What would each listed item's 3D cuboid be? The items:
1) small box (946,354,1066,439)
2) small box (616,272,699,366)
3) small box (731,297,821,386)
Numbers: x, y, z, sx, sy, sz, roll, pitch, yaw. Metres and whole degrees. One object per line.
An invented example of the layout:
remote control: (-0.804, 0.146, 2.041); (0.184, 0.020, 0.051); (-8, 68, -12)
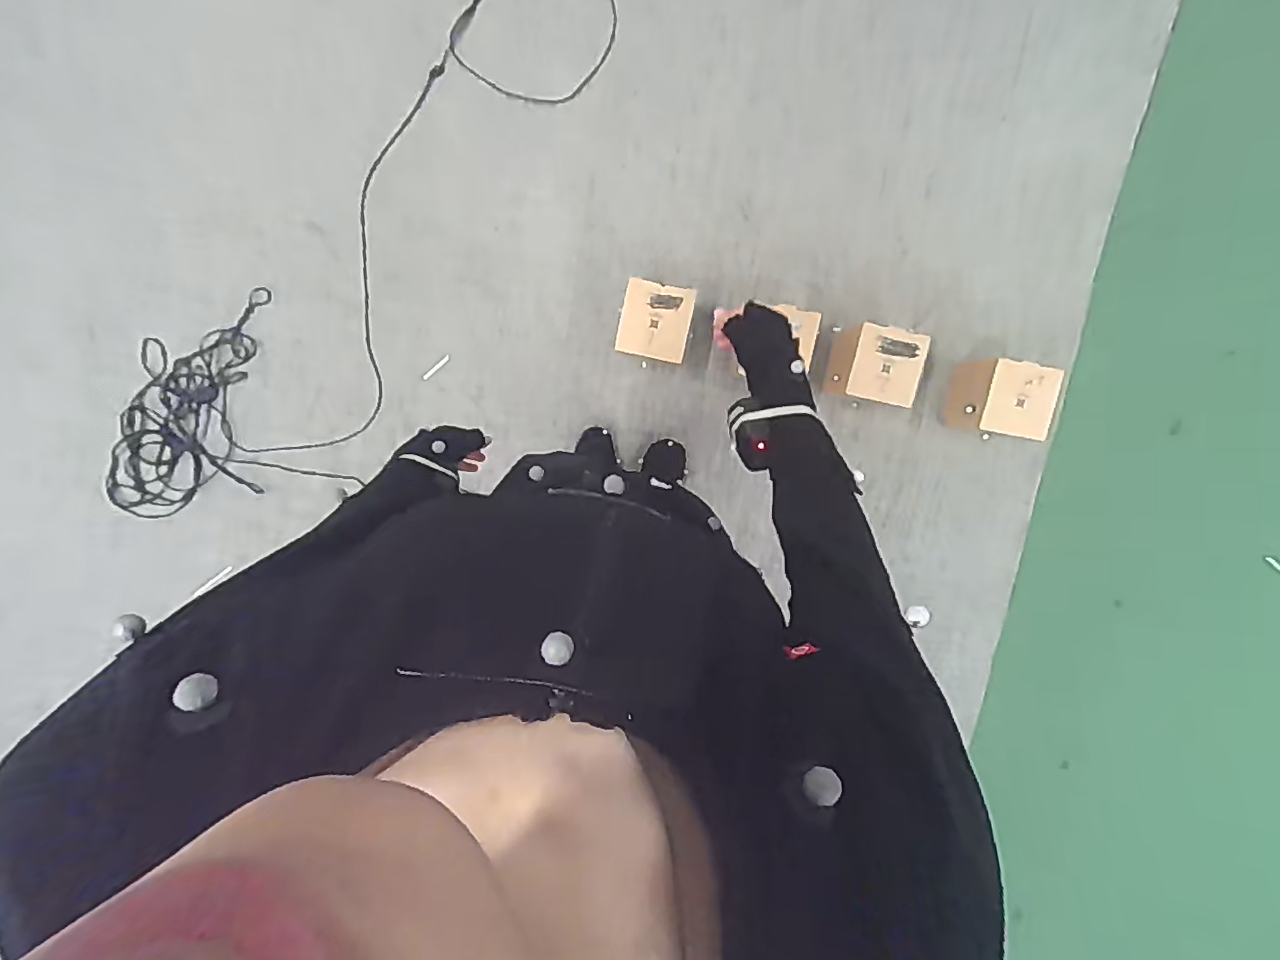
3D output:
small box: (0.904, -0.207, 1.357); (0.168, 0.176, 0.179); (11, 98, -2)
small box: (0.039, -0.390, 1.338); (0.168, 0.176, 0.179); (12, 98, -1)
small box: (0.328, -0.336, 1.344); (0.168, 0.176, 0.179); (10, 96, -1)
